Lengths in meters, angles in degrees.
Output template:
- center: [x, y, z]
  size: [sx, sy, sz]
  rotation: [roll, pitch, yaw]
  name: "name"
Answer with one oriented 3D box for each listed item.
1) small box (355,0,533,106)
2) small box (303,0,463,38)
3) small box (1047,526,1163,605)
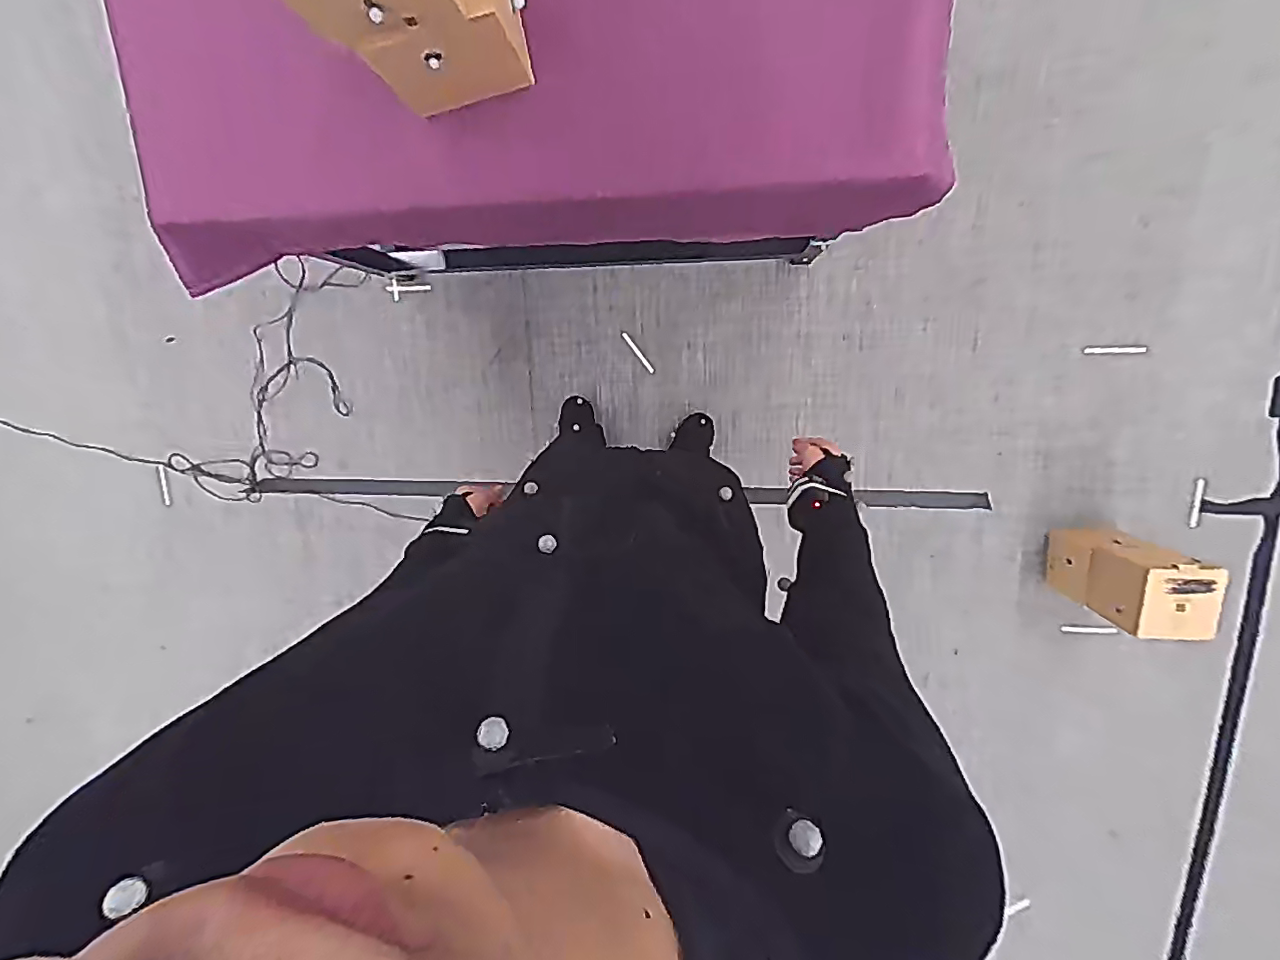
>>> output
- center: [-0.257, -0.617, 0.689]
  size: [0.179, 0.176, 0.168]
  rotation: [-11, 101, 7]
  name: "small box"
- center: [-0.294, -0.590, 0.530]
  size: [0.168, 0.176, 0.179]
  rotation: [-5, 101, 8]
  name: "small box"
- center: [1.246, 0.227, 1.463]
  size: [0.179, 0.176, 0.168]
  rotation: [-3, 101, 6]
  name: "small box"
